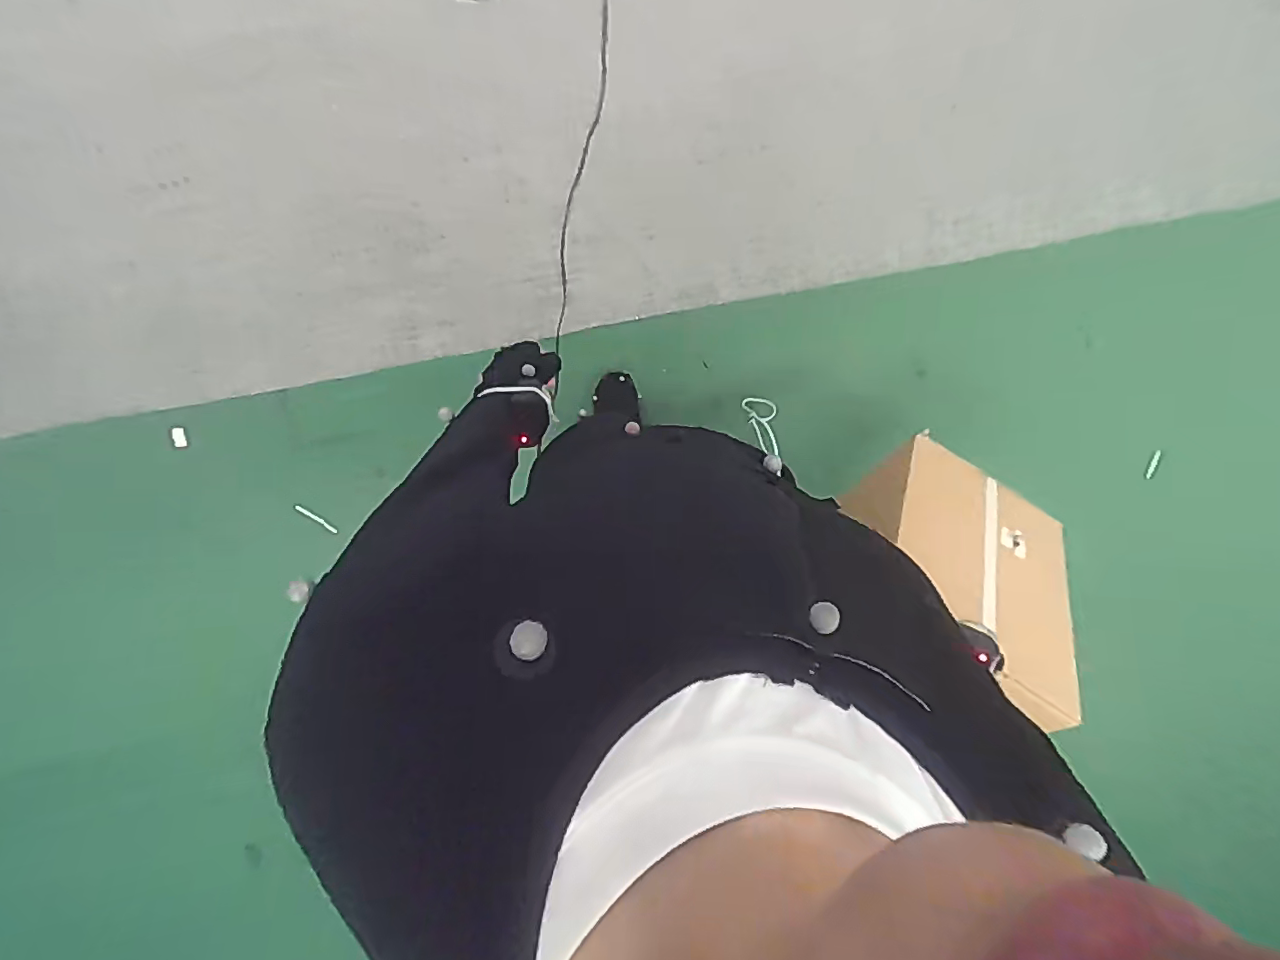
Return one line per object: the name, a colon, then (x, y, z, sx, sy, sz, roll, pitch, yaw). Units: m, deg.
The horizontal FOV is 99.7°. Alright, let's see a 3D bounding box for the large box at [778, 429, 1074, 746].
large box: (0.500, 0.193, 0.987, 0.320, 0.408, 0.320, 33, 139, 2)
